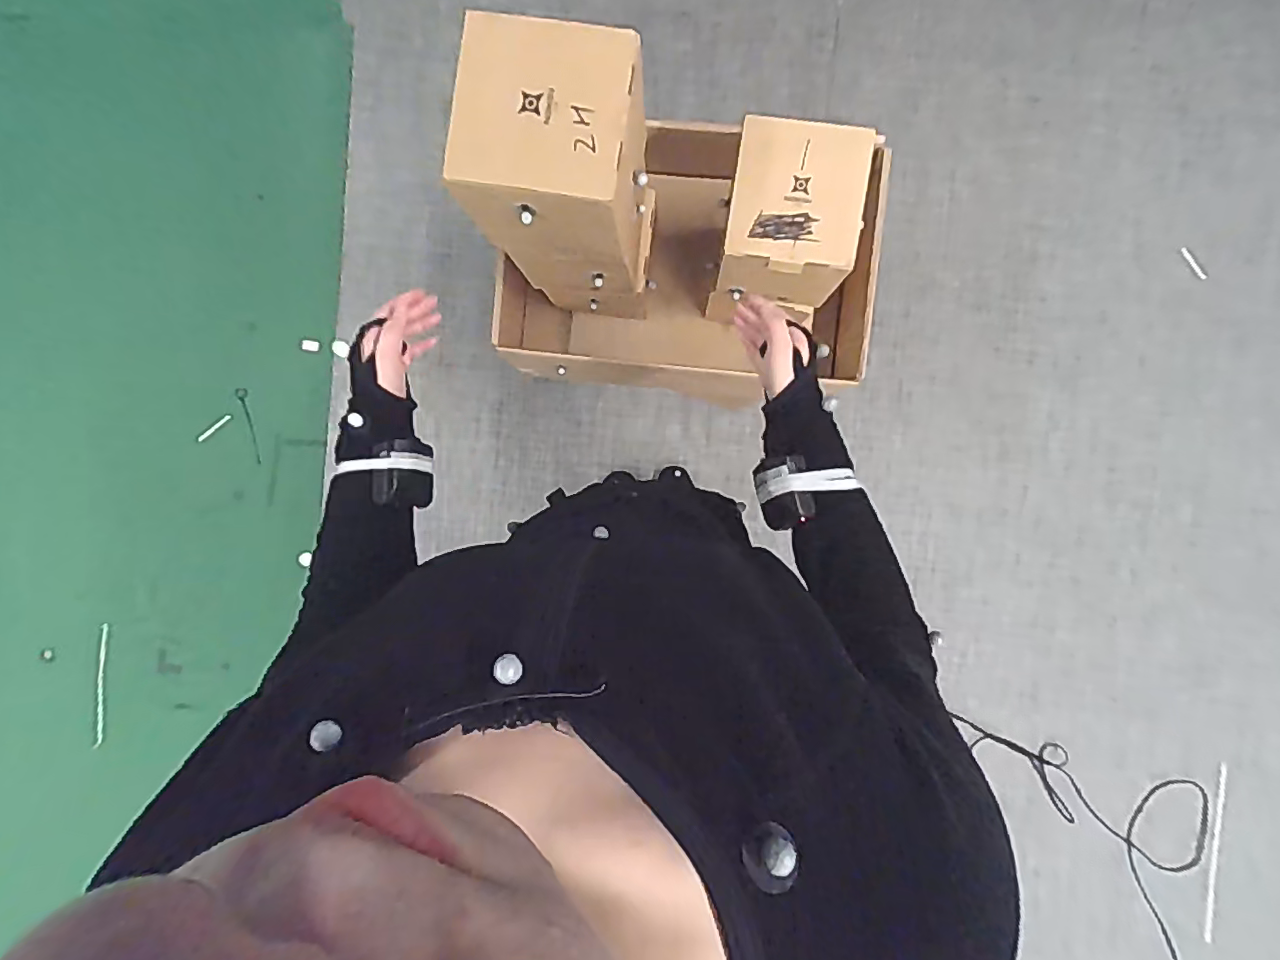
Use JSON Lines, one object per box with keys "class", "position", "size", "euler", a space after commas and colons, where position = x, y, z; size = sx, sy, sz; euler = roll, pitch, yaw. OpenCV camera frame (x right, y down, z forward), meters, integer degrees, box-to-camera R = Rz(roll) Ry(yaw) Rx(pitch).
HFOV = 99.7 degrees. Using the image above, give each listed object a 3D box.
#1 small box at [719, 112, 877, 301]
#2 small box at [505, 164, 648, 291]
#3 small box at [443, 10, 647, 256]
{"class": "small box", "position": [0.205, -0.366, 0.754], "size": [0.168, 0.176, 0.179], "euler": [9, 92, 4]}
{"class": "small box", "position": [-0.080, -0.386, 0.775], "size": [0.168, 0.176, 0.179], "euler": [7, 92, 3]}
{"class": "small box", "position": [-0.094, -0.372, 0.611], "size": [0.179, 0.176, 0.168], "euler": [10, 93, 3]}
